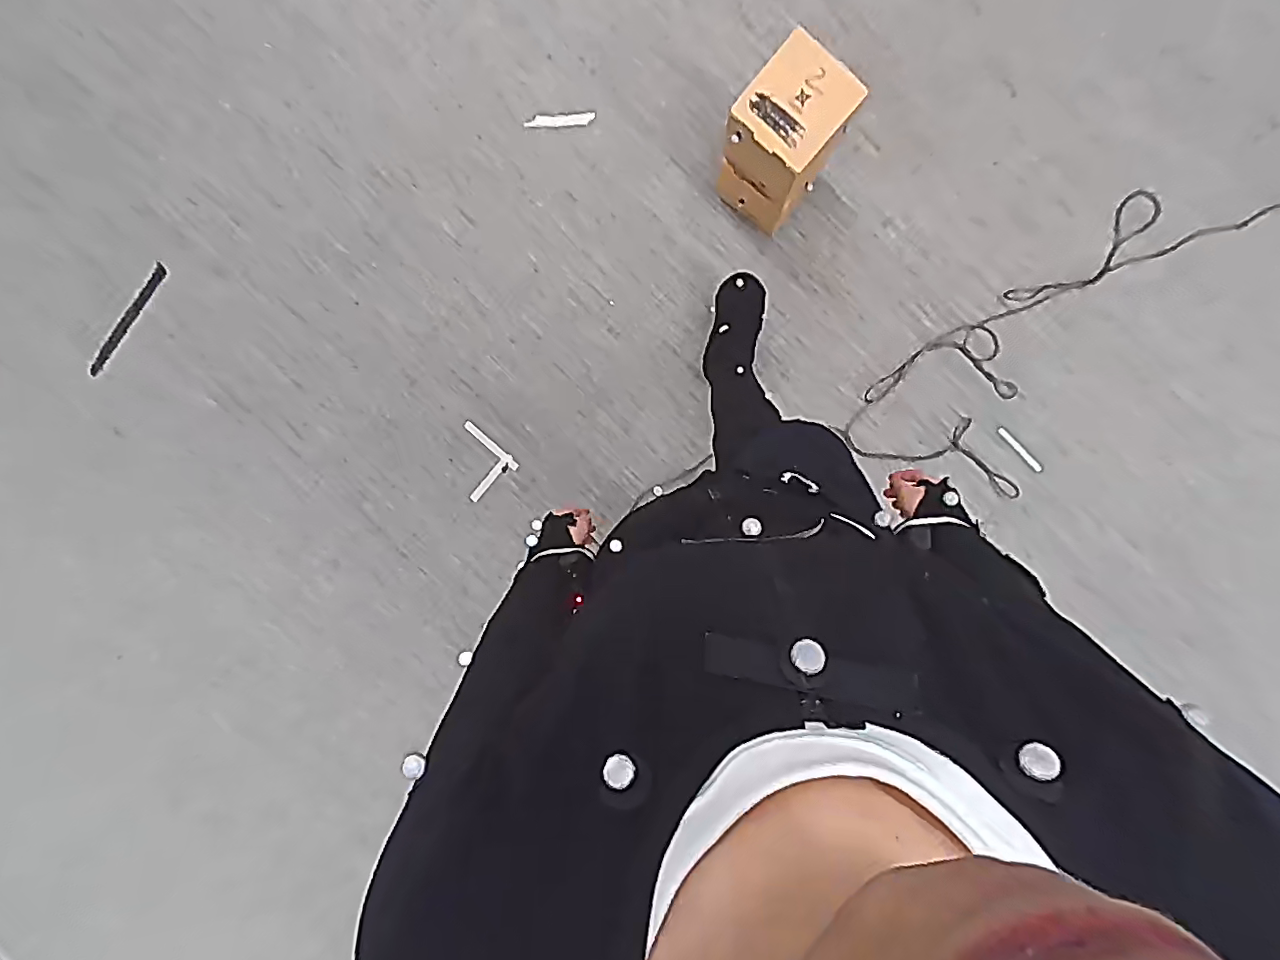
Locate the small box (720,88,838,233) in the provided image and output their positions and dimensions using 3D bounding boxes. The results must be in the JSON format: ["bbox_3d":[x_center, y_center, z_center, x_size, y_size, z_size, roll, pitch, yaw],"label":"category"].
[{"bbox_3d":[0.286,-0.673,1.162,0.168,0.176,0.179,37,100,-1],"label":"small box"}]
